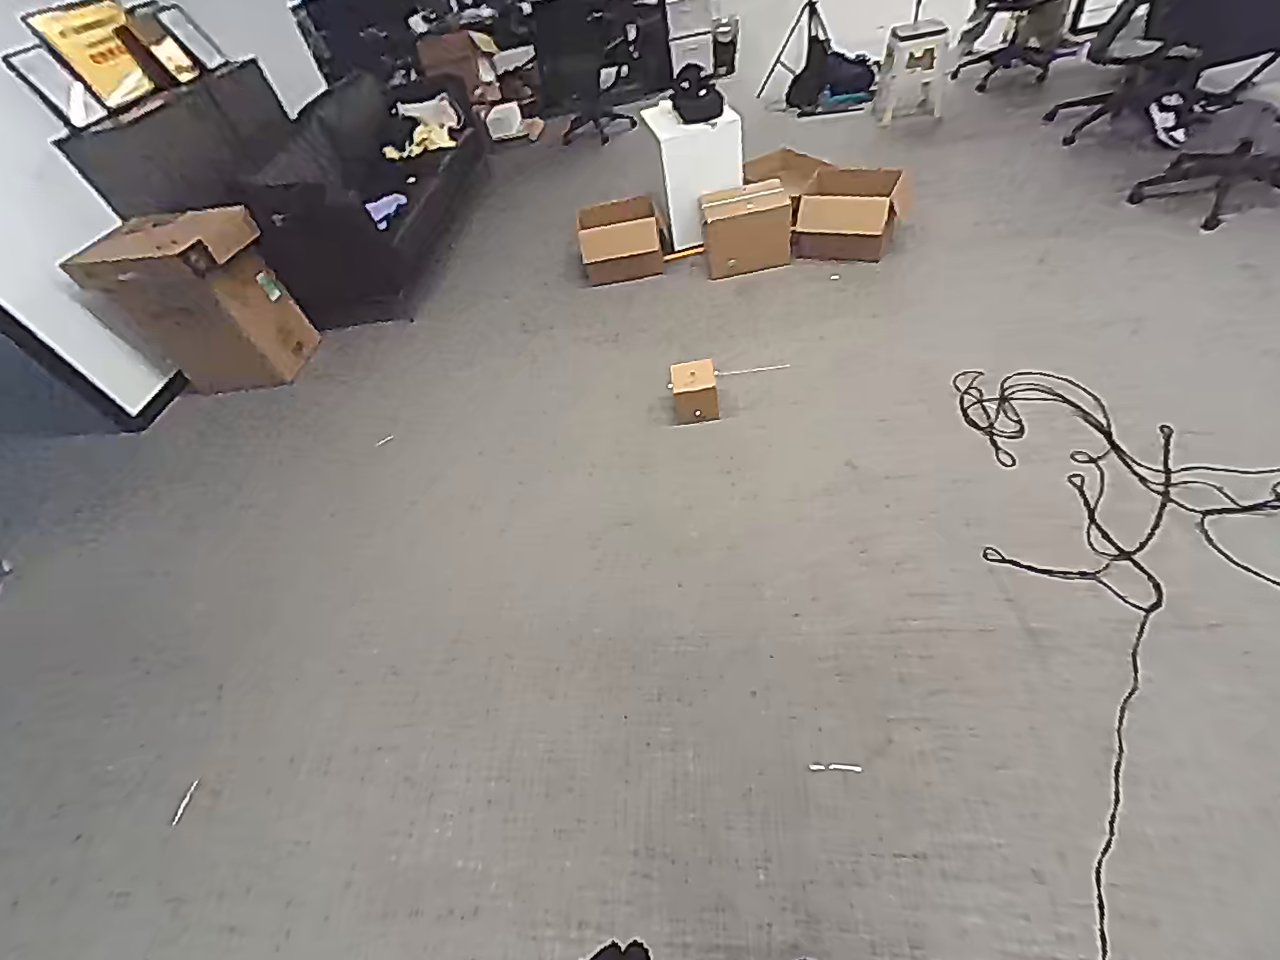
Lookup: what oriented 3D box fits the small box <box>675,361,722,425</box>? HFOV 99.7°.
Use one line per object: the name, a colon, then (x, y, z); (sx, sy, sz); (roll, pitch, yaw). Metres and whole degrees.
small box: (0.230, -0.342, 2.135); (0.168, 0.176, 0.179); (-8, 48, 7)
